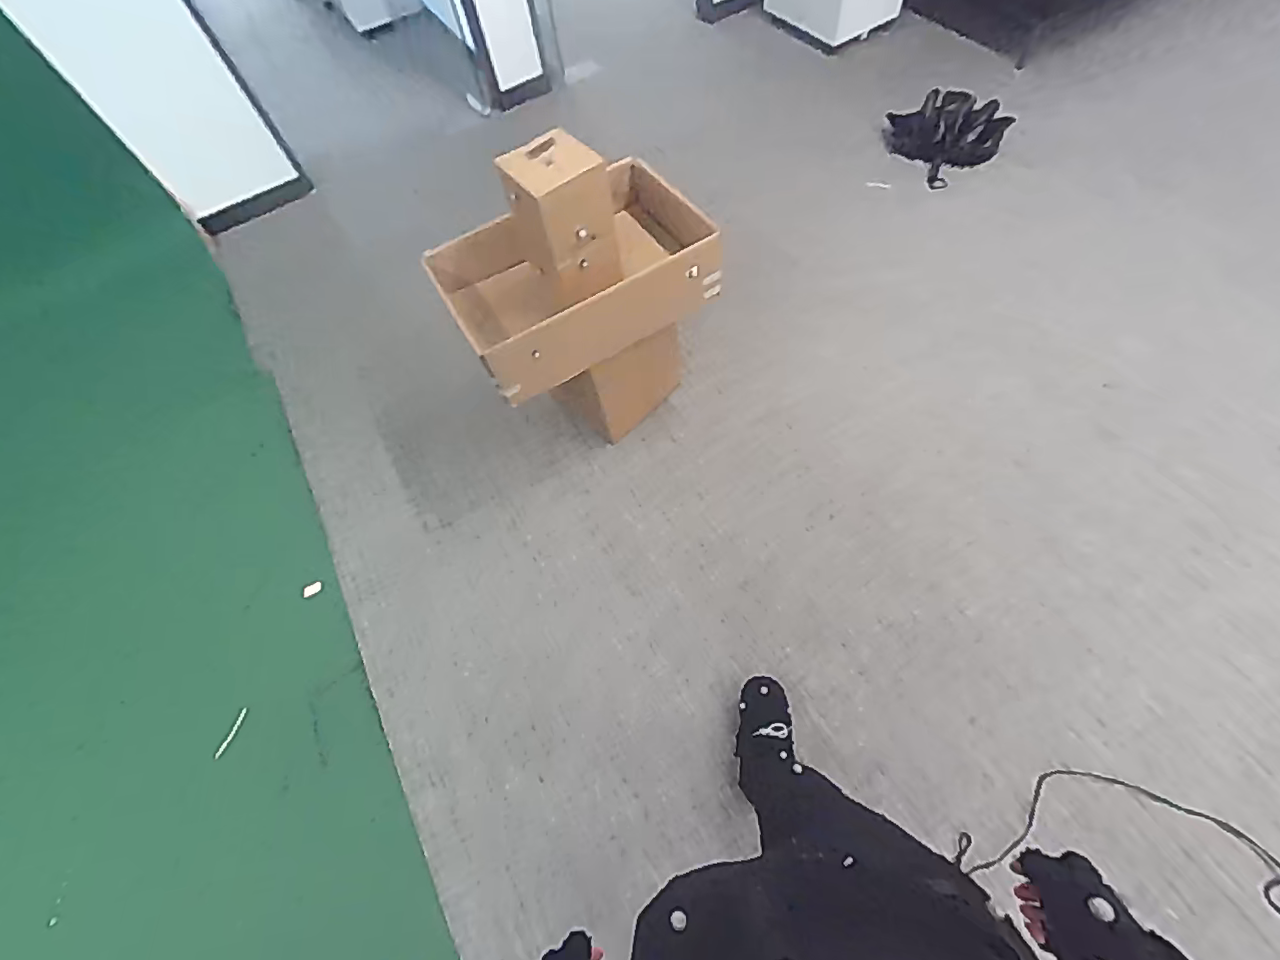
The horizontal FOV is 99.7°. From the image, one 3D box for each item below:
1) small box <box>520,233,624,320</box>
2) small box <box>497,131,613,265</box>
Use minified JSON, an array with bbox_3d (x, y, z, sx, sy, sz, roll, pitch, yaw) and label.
[{"bbox_3d":[-0.160,-0.524,1.312,0.168,0.176,0.179,-37,63,-12],"label":"small box"},{"bbox_3d":[-0.178,-0.604,1.170,0.168,0.176,0.179,-36,64,-12],"label":"small box"}]
